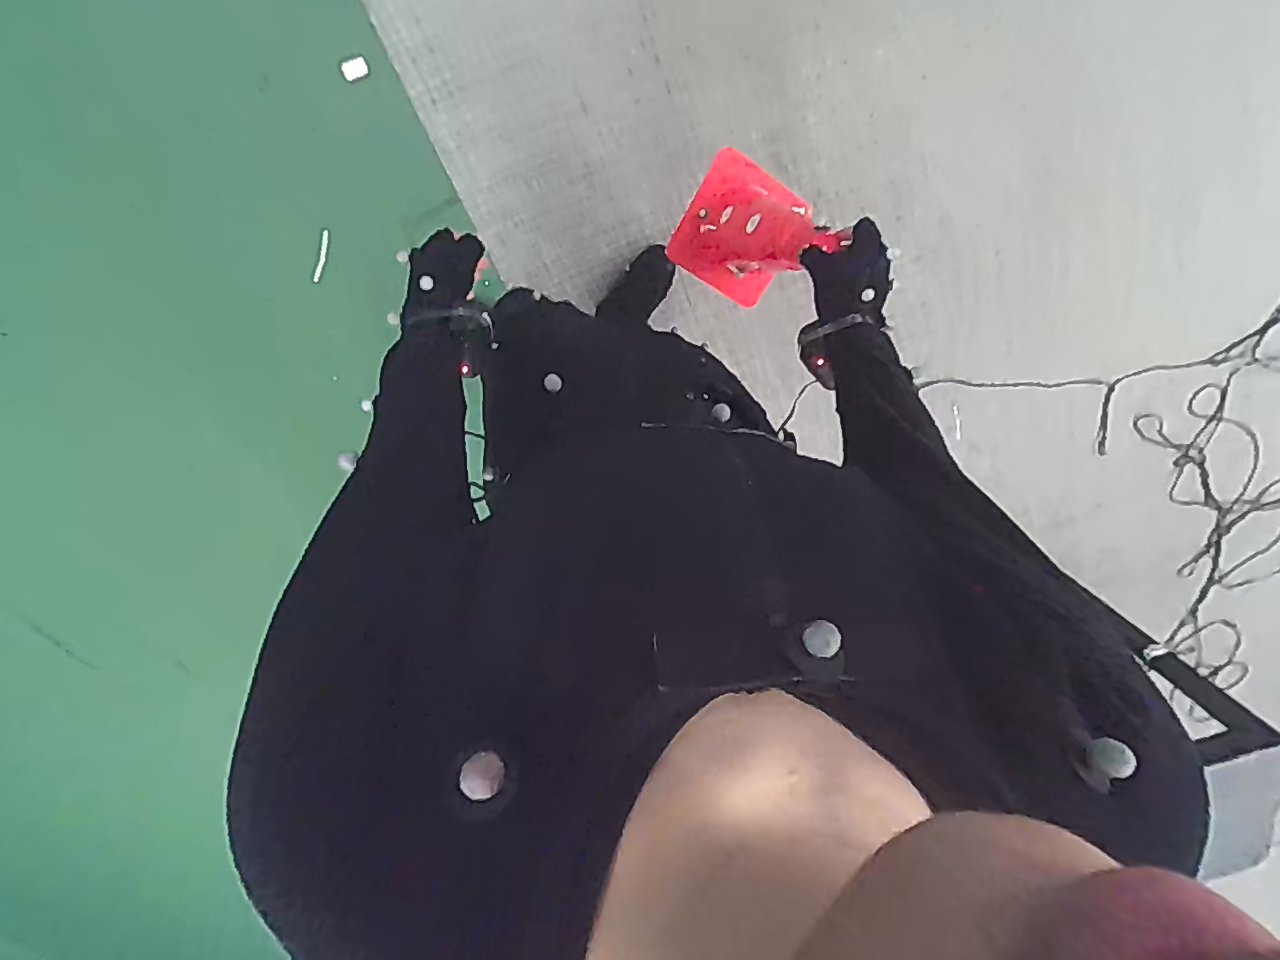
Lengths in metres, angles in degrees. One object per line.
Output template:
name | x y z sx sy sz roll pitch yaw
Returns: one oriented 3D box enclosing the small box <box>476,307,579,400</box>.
small box | -0.271 -0.294 1.287 0.168 0.176 0.179 -23 104 -27
